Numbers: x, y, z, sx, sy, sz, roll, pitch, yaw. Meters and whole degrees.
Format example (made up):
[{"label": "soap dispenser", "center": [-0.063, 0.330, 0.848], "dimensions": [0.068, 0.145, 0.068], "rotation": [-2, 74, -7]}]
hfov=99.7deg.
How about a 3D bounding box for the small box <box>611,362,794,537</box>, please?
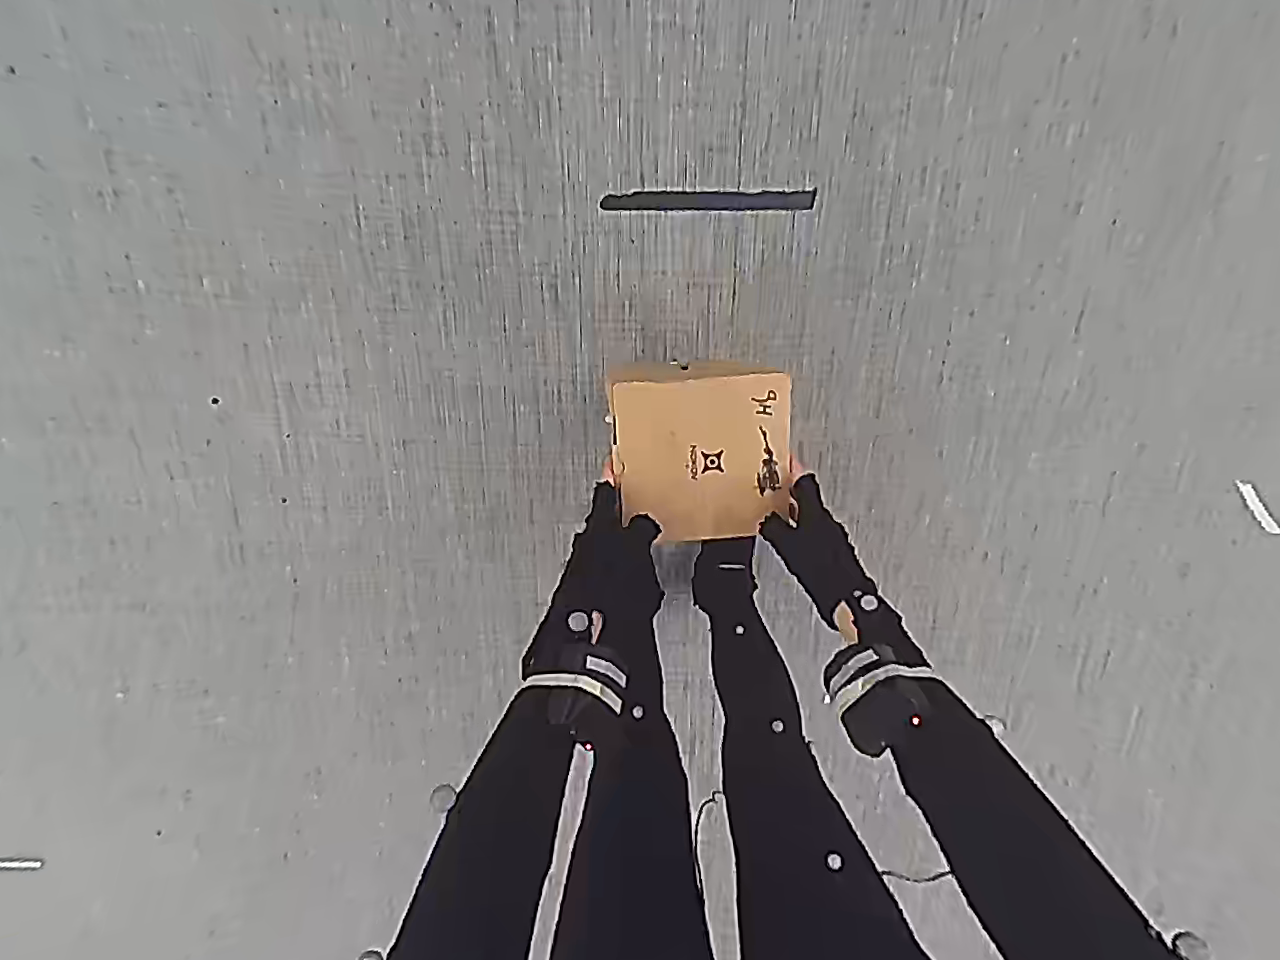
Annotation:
[{"label": "small box", "center": [0.062, -0.044, 0.608], "dimensions": [0.179, 0.176, 0.168], "rotation": [-3, 105, -1]}]
